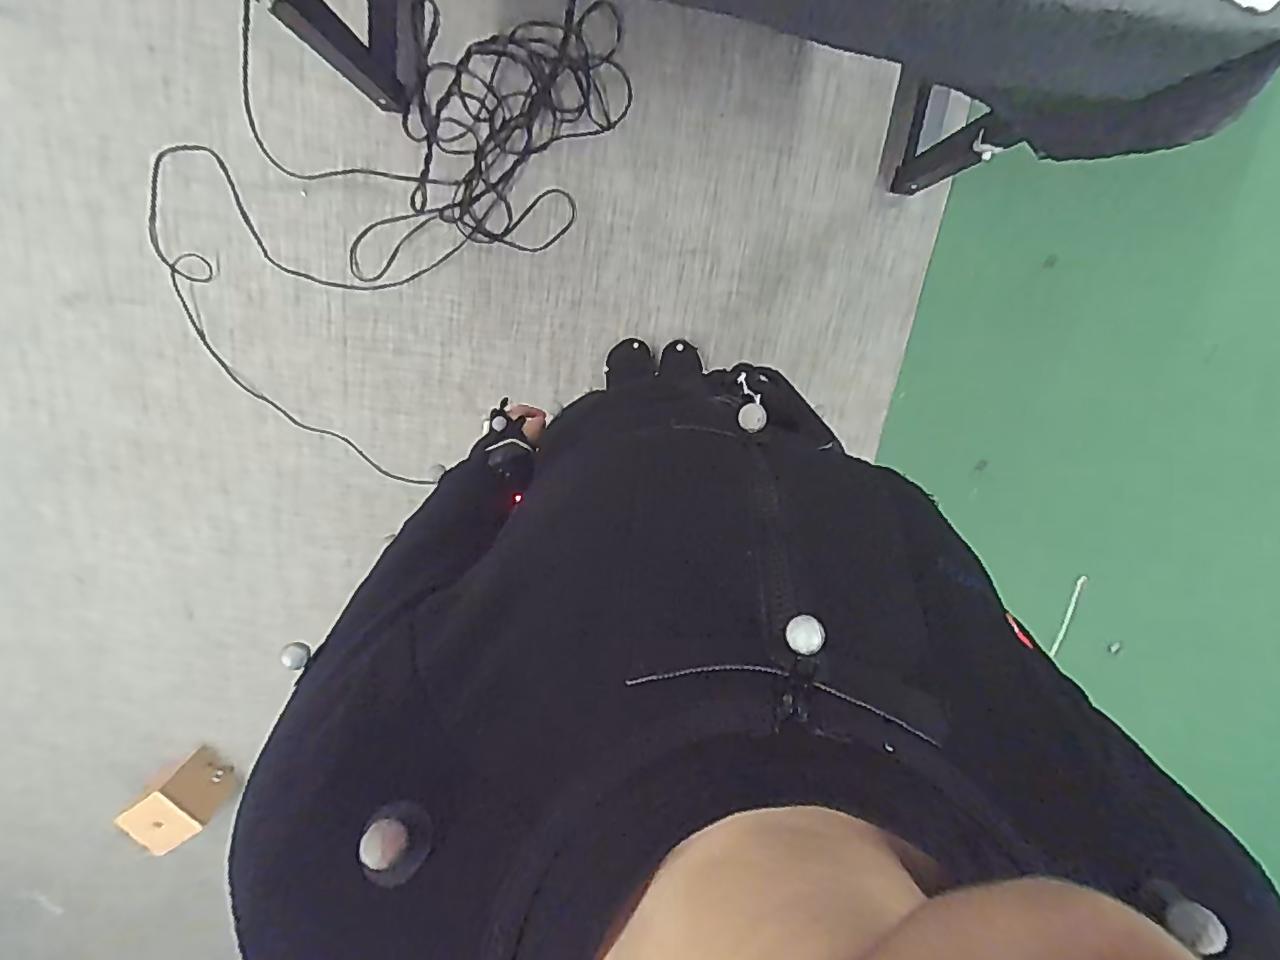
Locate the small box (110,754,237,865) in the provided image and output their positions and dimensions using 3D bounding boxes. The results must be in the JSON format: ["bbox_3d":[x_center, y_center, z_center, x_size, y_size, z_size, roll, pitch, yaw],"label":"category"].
[{"bbox_3d":[-1.303,0.923,1.524,0.179,0.176,0.168,-35,105,7],"label":"small box"}]
